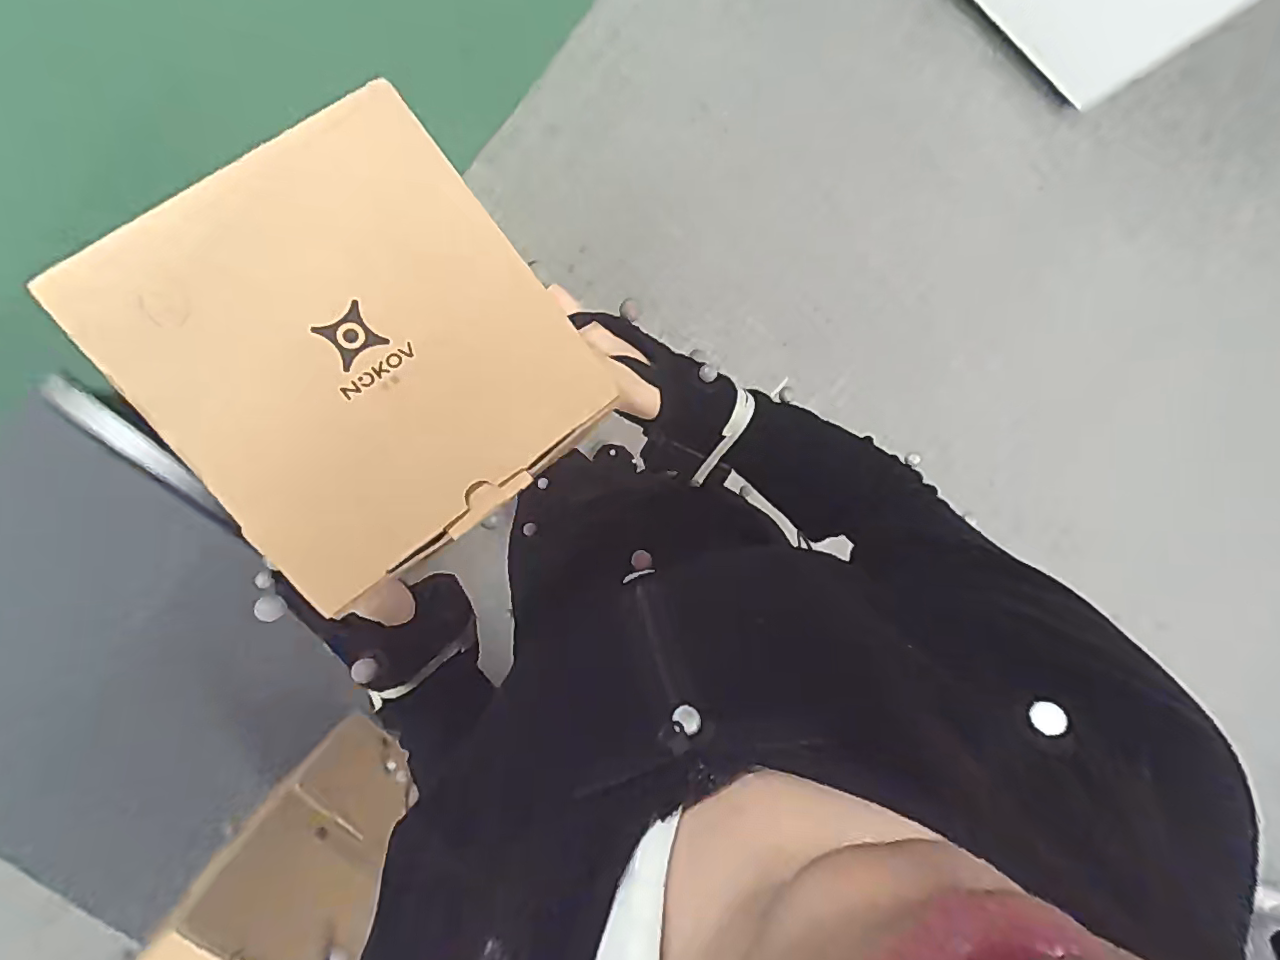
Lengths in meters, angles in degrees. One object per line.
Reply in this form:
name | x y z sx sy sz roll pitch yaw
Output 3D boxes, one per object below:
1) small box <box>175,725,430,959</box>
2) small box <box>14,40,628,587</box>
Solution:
small box | -0.397 0.455 0.674 0.168 0.176 0.179 45 91 -7
small box | -0.134 -0.067 0.298 0.168 0.176 0.179 -38 95 -10
